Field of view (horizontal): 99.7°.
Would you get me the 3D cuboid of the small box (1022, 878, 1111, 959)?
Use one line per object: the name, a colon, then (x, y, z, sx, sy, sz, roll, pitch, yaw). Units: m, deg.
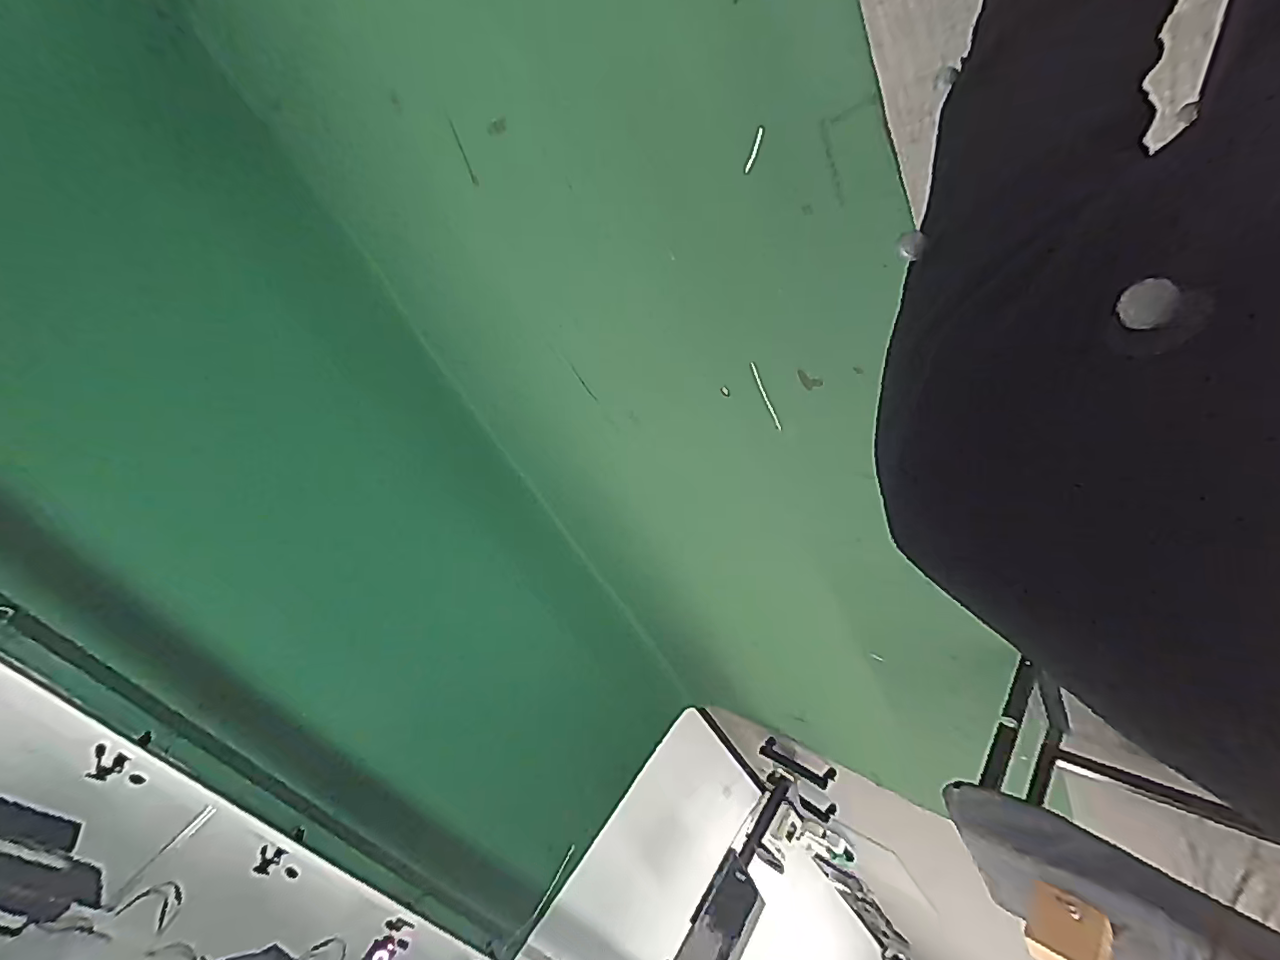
small box: (1.234, 1.309, 1.559, 0.168, 0.176, 0.179, 2, 132, 50)
